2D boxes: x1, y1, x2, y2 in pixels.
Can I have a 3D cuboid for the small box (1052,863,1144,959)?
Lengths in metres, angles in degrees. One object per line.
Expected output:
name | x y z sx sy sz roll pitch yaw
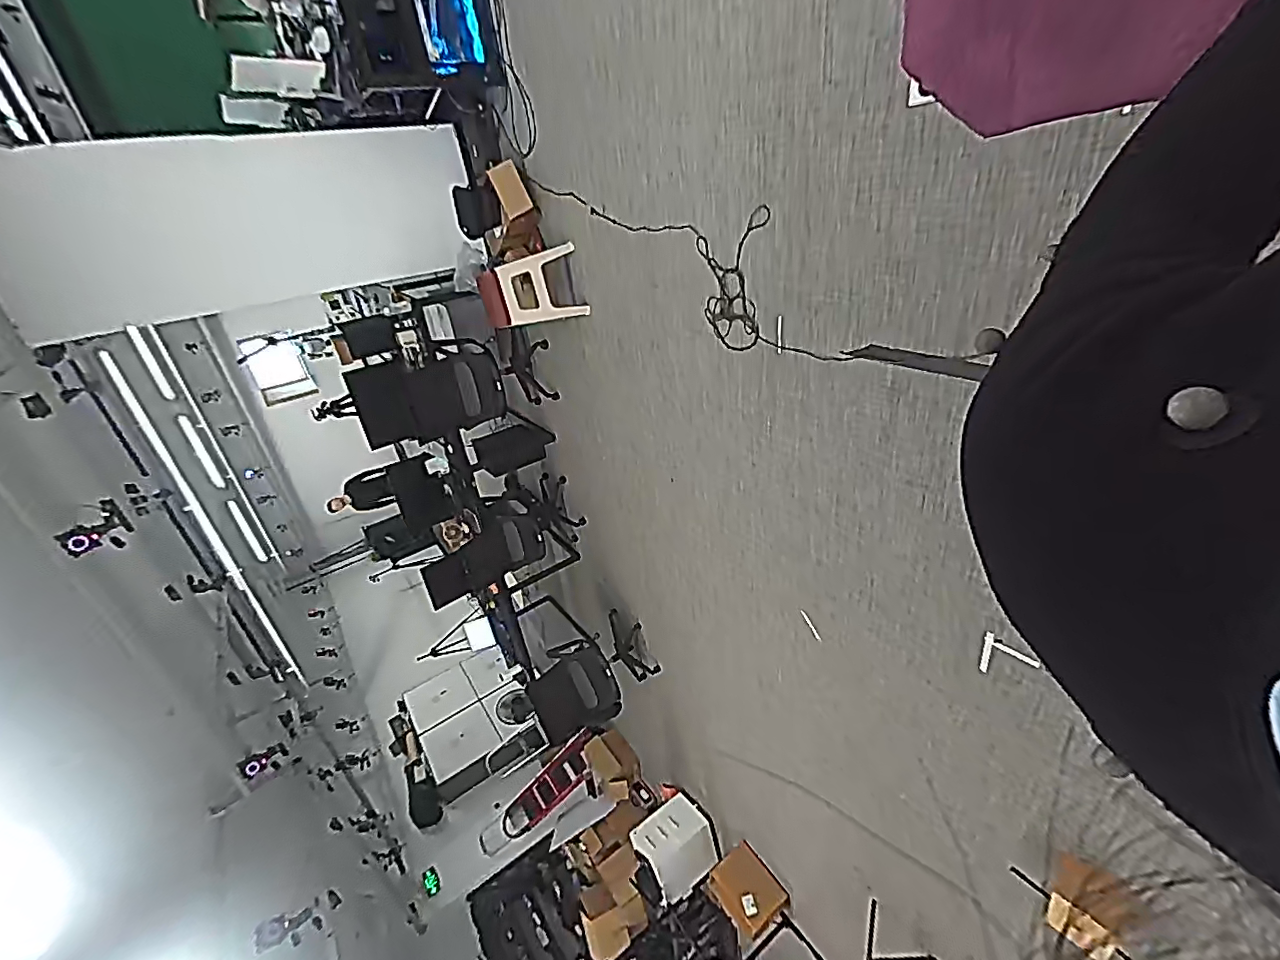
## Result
small box | 1.439 1.368 1.698 0.168 0.176 0.179 24 132 52
